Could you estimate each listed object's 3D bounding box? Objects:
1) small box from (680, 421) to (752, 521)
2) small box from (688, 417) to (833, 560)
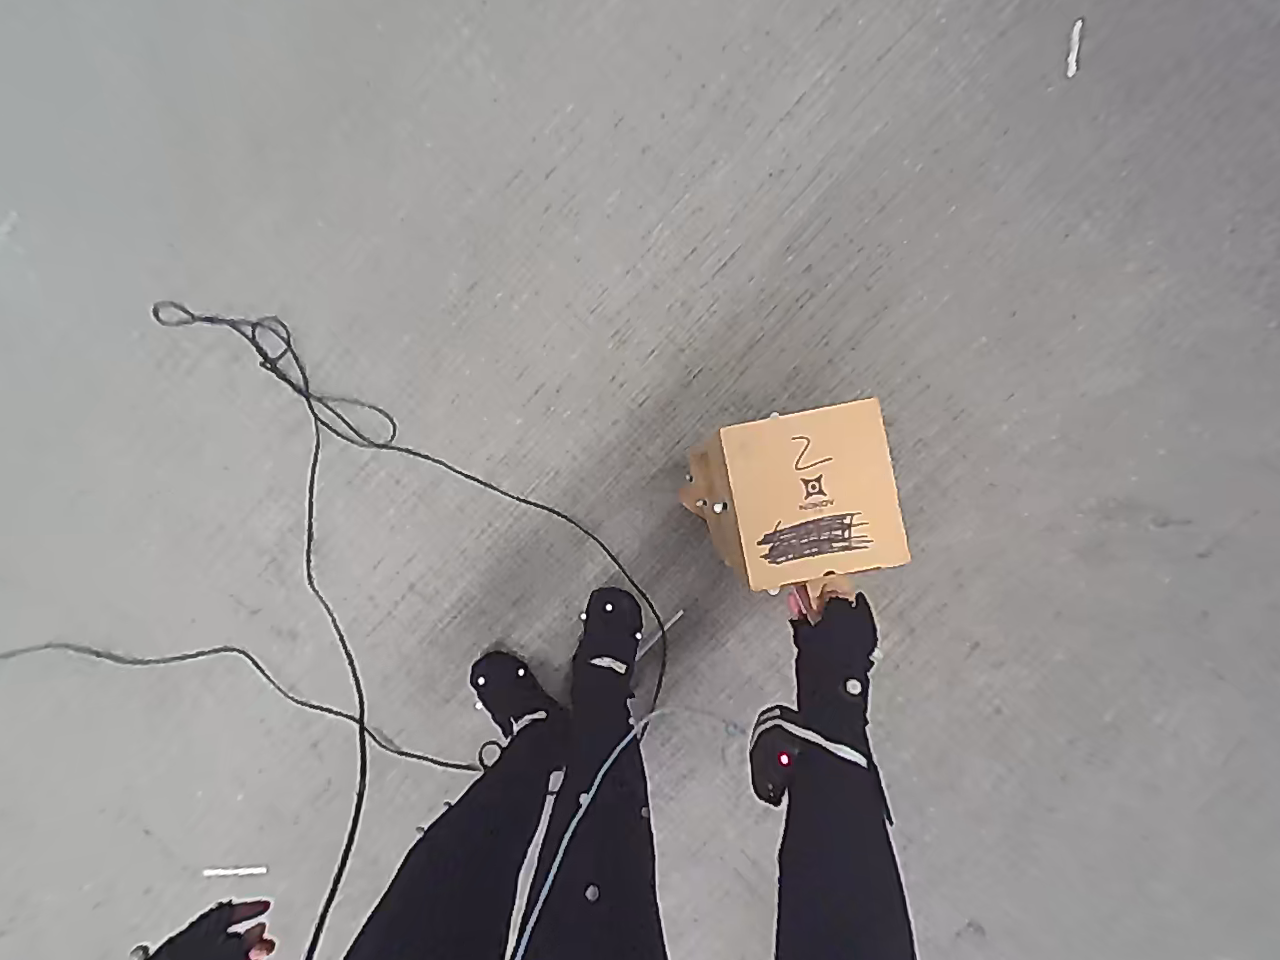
[{"bbox_3d":[0.188,0.009,1.010,0.168,0.176,0.179,38,94,-3],"label":"small box"},{"bbox_3d":[0.181,0.007,0.861,0.168,0.176,0.179,-17,96,2],"label":"small box"}]
